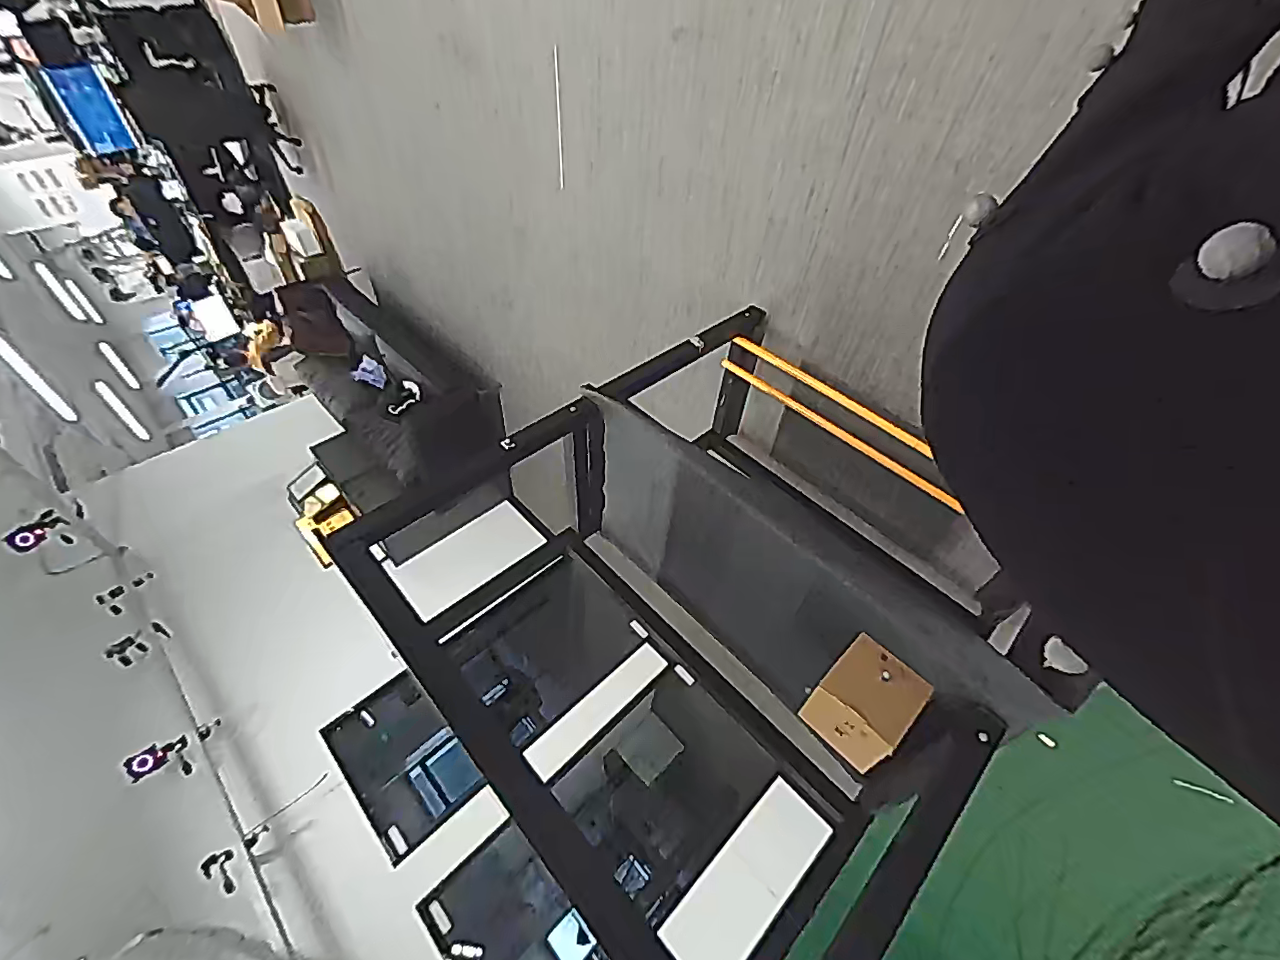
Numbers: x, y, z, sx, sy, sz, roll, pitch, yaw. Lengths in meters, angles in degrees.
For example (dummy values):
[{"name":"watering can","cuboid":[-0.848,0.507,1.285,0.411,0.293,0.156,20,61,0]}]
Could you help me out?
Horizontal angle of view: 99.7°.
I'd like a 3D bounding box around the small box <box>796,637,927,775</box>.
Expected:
[{"name":"small box","cuboid":[0.459,0.466,1.122,0.168,0.176,0.179,38,146,27]}]
